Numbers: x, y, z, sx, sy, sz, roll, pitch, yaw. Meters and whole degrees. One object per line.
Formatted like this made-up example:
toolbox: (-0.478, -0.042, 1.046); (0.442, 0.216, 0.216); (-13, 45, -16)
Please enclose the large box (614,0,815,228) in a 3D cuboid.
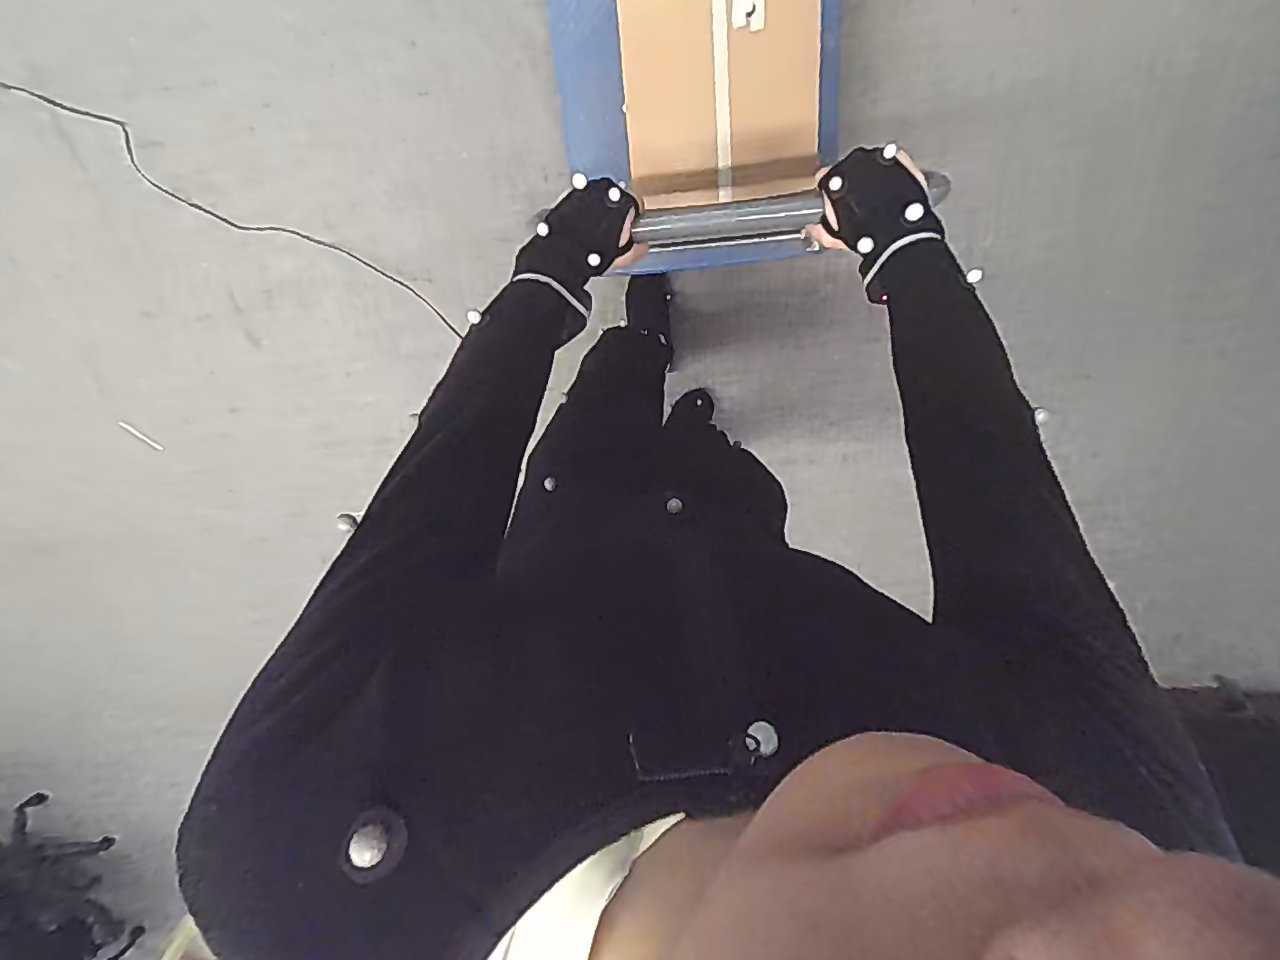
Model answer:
large box: (0.134, -0.716, 1.006); (0.320, 0.320, 0.408); (-4, 110, 5)
